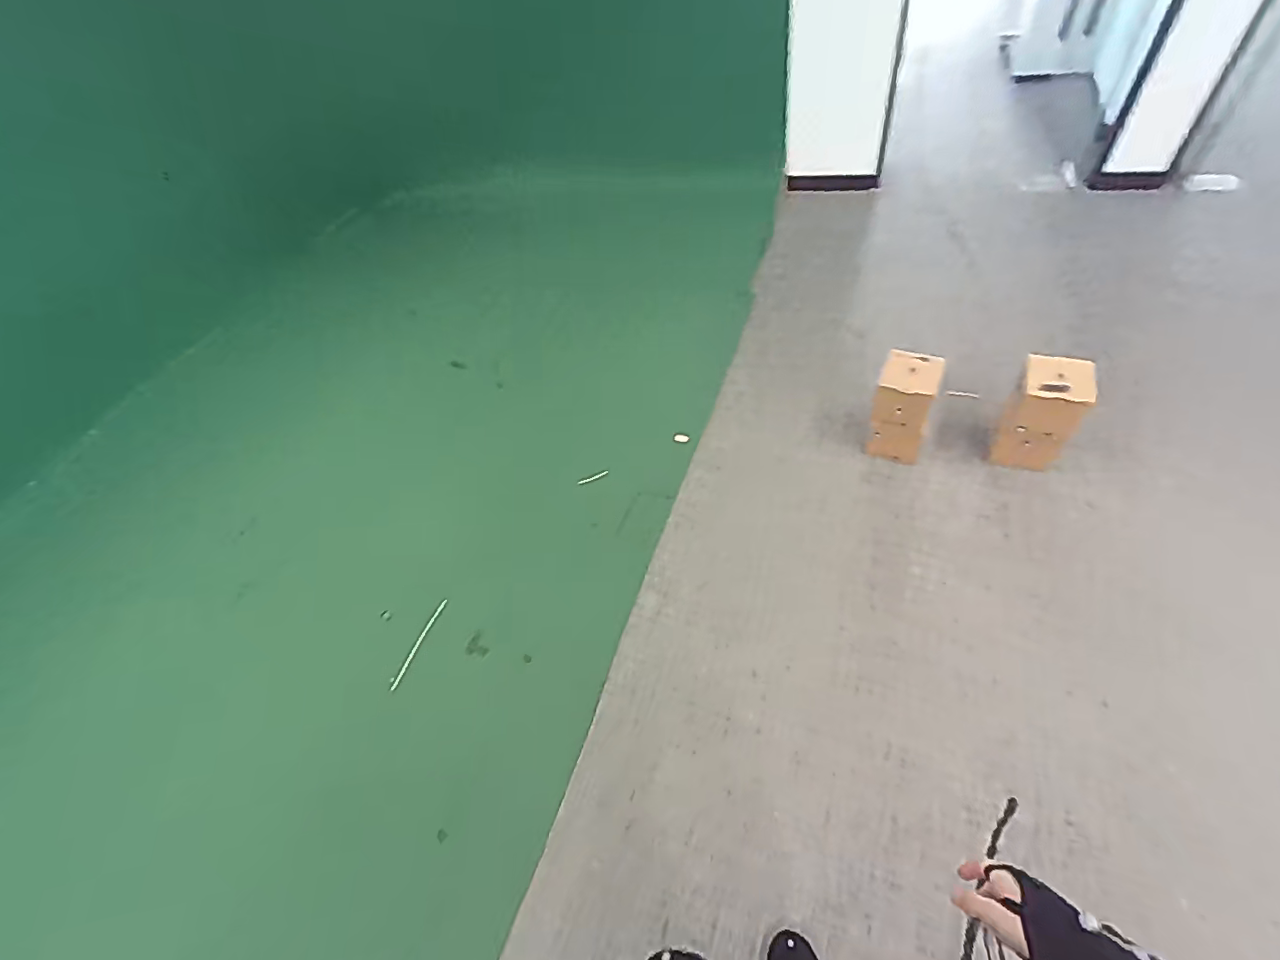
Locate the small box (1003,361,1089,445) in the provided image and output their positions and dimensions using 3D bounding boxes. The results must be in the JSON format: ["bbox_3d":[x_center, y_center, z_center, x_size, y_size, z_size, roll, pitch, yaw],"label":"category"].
[{"bbox_3d":[1.216,-0.230,1.628,0.168,0.176,0.179,13,57,21],"label":"small box"}]

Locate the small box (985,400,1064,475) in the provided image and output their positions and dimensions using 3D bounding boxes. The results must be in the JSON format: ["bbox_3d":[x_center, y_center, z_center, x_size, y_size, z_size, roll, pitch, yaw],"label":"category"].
[{"bbox_3d":[1.245,-0.137,1.760,0.179,0.176,0.168,12,57,21],"label":"small box"}]

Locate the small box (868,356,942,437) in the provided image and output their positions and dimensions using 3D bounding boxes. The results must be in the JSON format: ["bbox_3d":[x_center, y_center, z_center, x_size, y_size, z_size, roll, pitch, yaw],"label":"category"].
[{"bbox_3d":[0.848,-0.266,1.741,0.168,0.176,0.179,18,60,24],"label":"small box"}]
